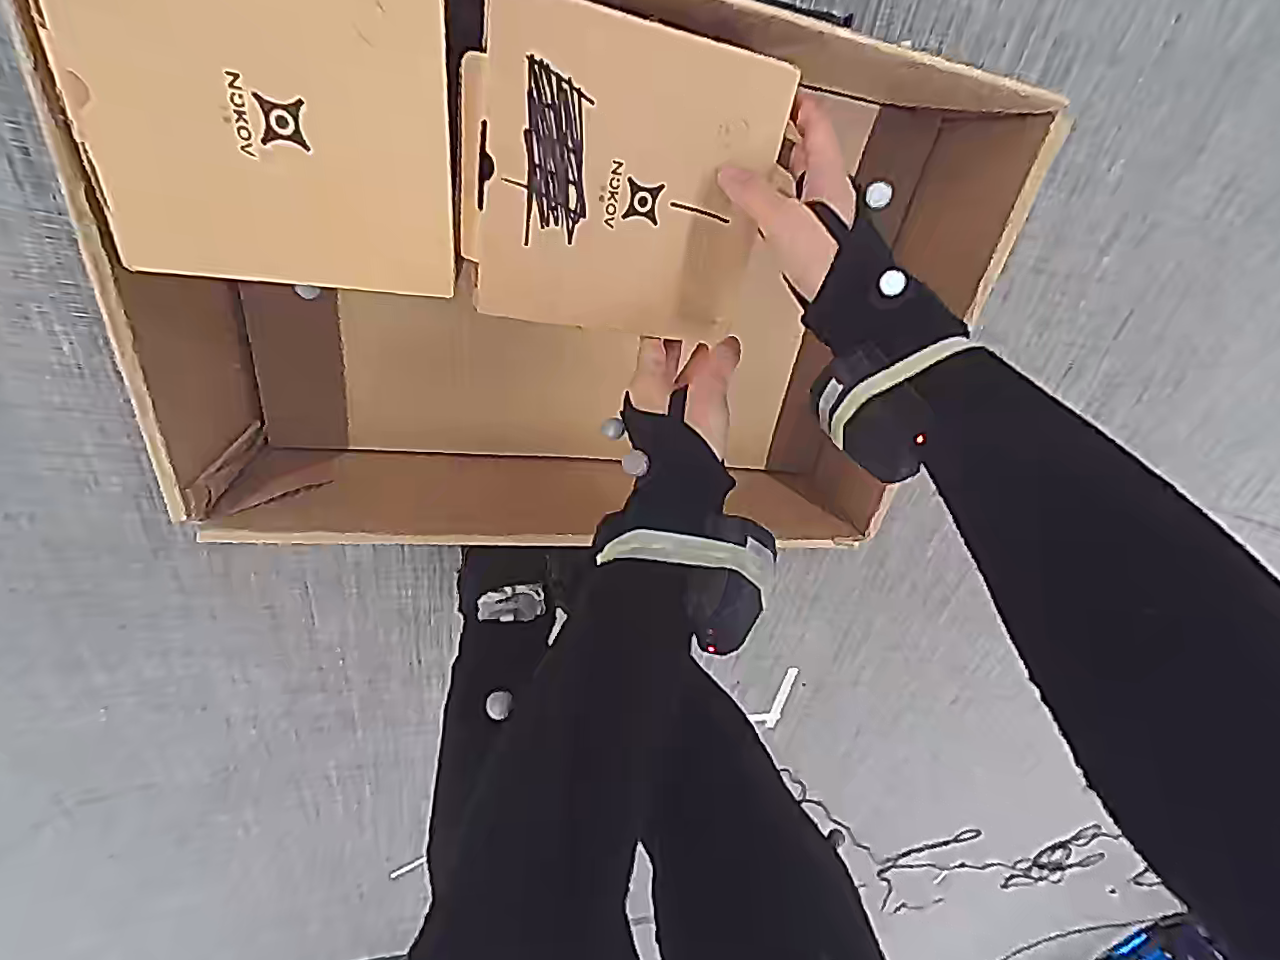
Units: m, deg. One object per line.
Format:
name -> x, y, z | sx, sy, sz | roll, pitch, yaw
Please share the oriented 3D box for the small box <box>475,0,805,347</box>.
small box -> -0.019, -0.213, 0.392 | 0.179, 0.176, 0.168 | 4, 122, -16
